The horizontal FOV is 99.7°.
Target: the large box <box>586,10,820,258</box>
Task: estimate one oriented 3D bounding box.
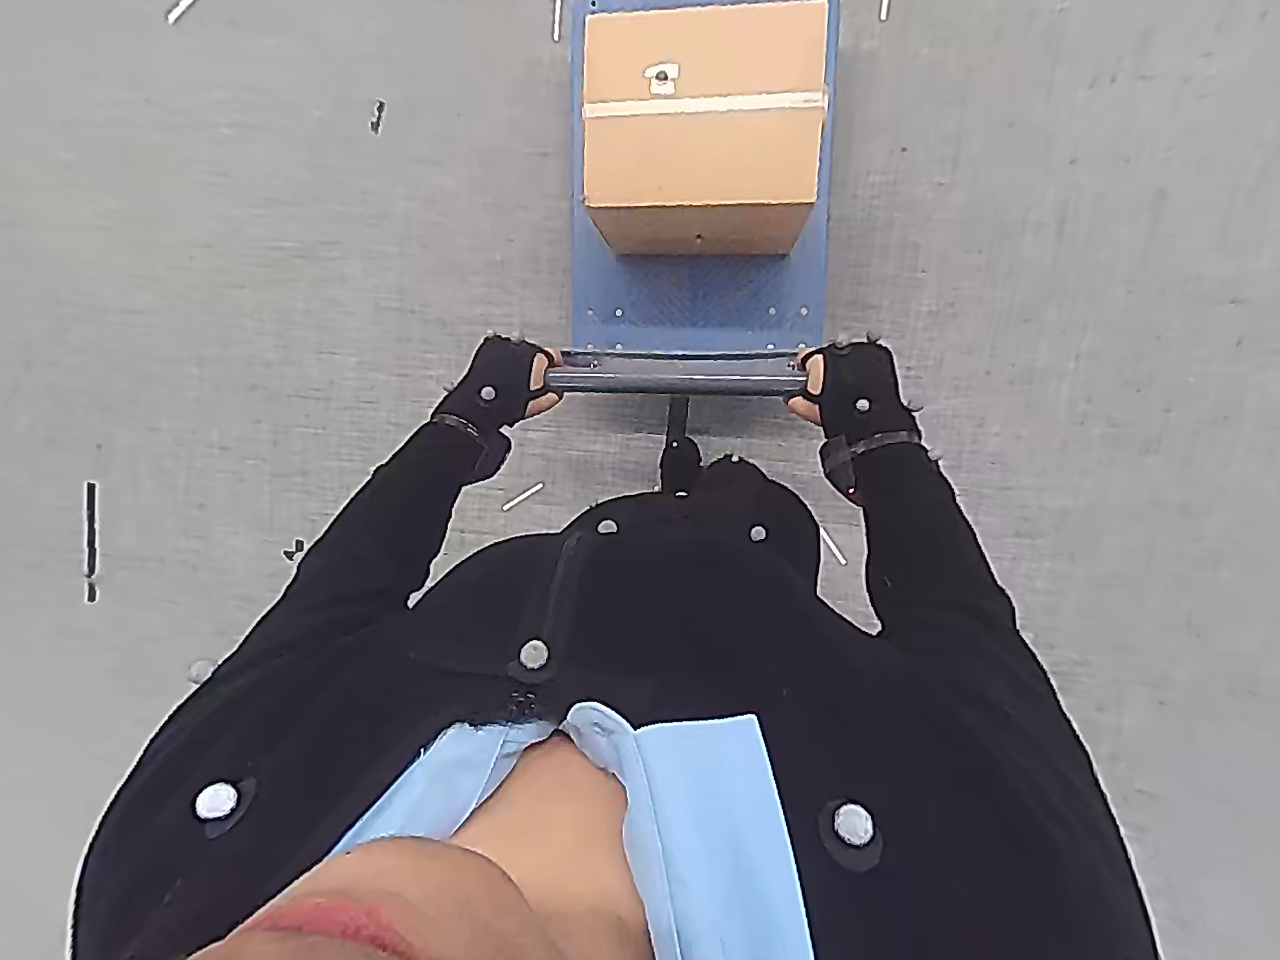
[{"bbox_3d":[0.123,-0.646,1.081,0.408,0.320,0.320,2,97,8],"label":"large box"}]
